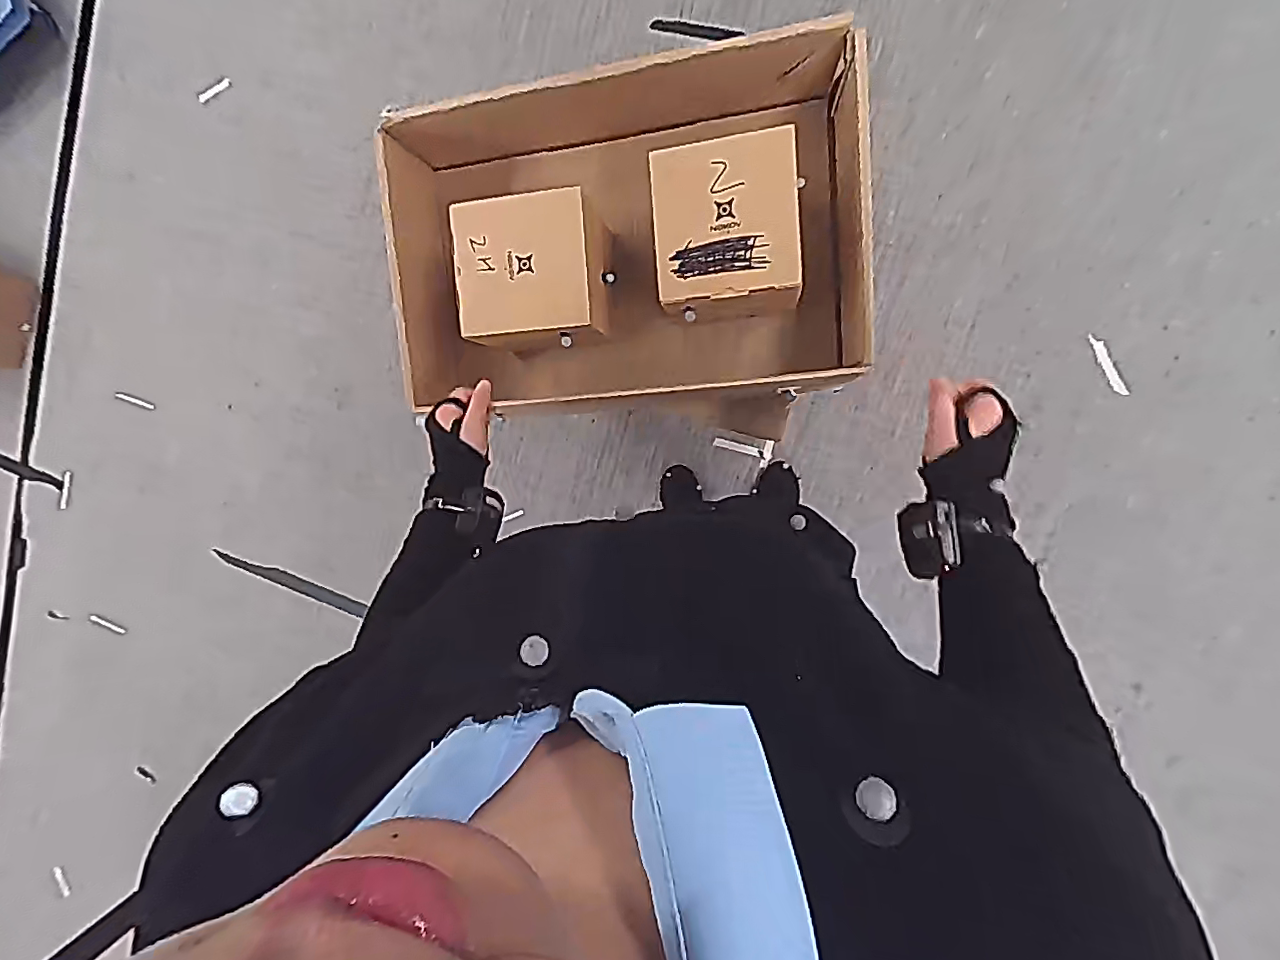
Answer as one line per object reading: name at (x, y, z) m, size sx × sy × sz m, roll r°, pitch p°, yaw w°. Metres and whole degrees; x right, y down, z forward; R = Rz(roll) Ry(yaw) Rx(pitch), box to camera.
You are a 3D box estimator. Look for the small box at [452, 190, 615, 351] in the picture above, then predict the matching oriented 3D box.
small box at (-0.135, -0.276, 0.751) m, size 0.179 × 0.176 × 0.168 m, roll -2°, pitch 96°, yaw 11°
